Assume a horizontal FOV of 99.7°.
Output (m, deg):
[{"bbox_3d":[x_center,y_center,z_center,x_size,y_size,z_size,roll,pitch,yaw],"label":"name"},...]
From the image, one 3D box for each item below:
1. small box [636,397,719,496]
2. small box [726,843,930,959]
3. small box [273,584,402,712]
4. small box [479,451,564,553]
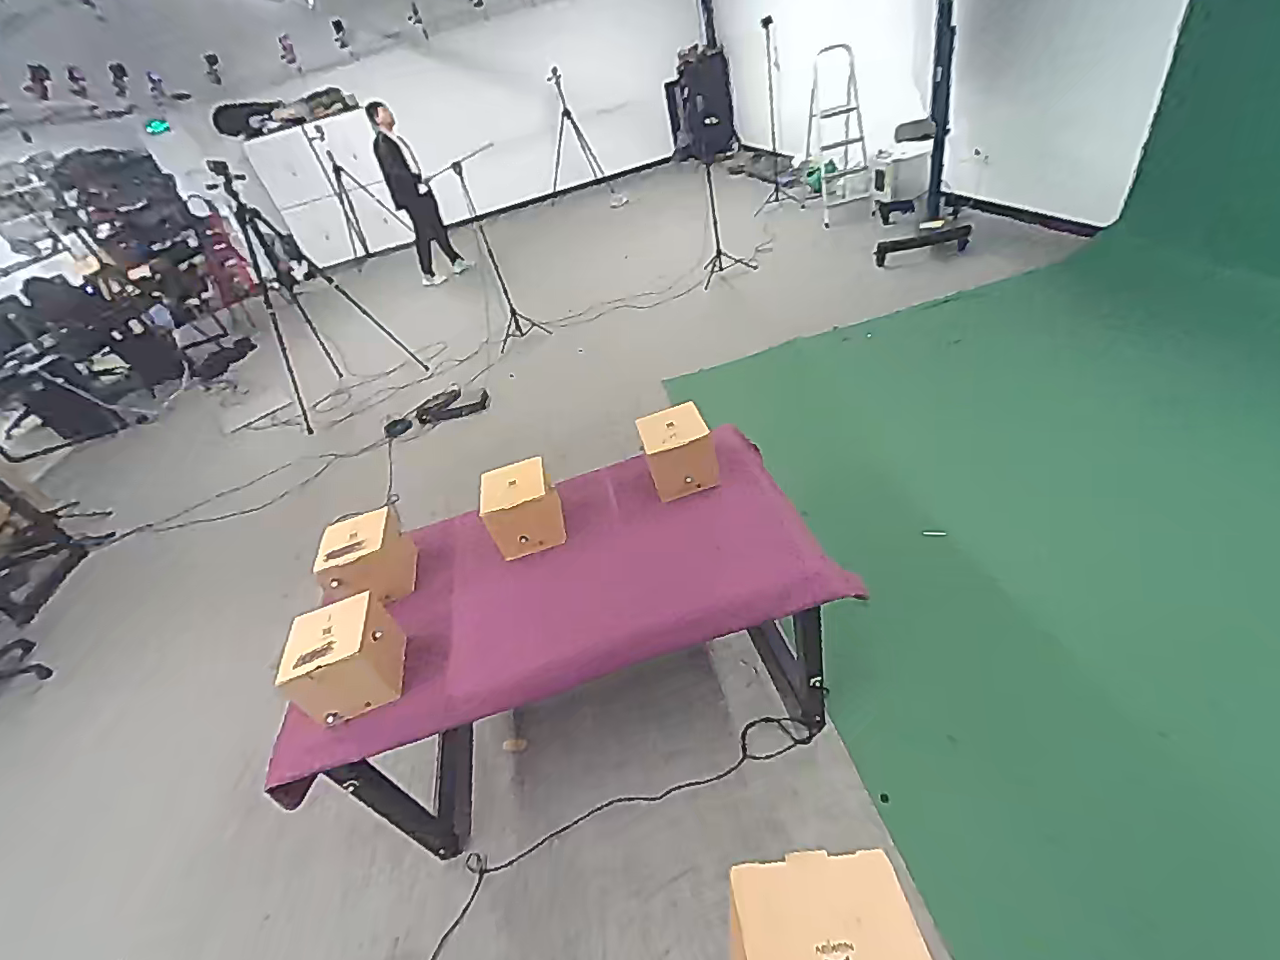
[{"bbox_3d":[0.099,-0.087,1.431,0.168,0.176,0.179,-18,39,1],"label":"small box"},{"bbox_3d":[0.181,0.497,0.528,0.168,0.176,0.179,-6,31,-2],"label":"small box"},{"bbox_3d":[-0.620,0.359,1.137,0.168,0.176,0.179,-20,37,-6],"label":"small box"},{"bbox_3d":[-0.304,0.057,1.403,0.168,0.176,0.179,-17,39,-2],"label":"small box"}]
